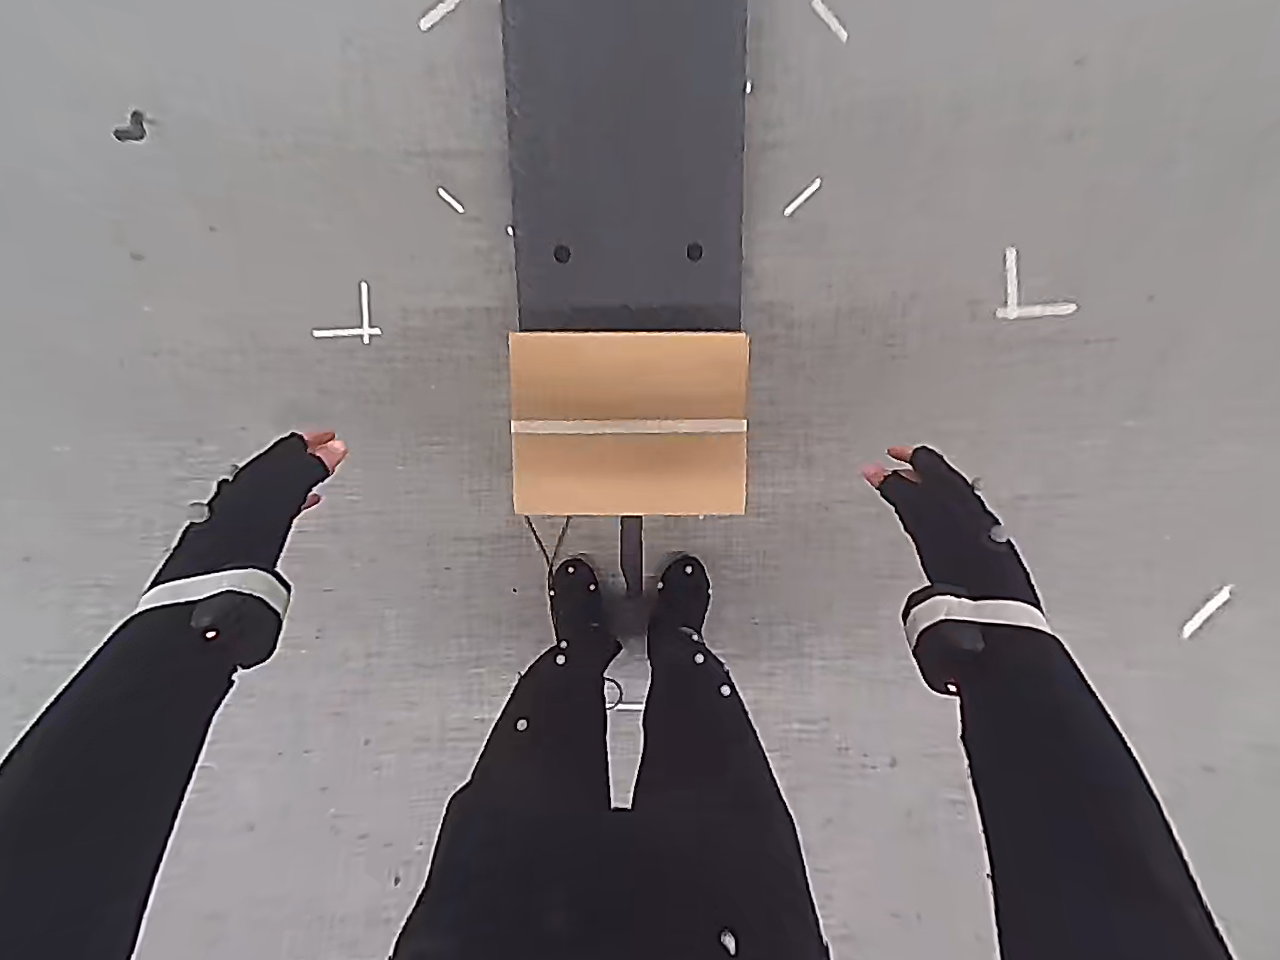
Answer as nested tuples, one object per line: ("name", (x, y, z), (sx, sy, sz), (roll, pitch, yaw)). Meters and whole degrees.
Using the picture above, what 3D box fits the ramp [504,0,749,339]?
("ramp", (-0.024, -0.692, 1.125), (0.509, 0.206, 0.991), (-2, 92, -1))

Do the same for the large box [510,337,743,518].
("large box", (-0.020, -0.104, 1.078), (0.408, 0.320, 0.320), (0, 95, 0))
